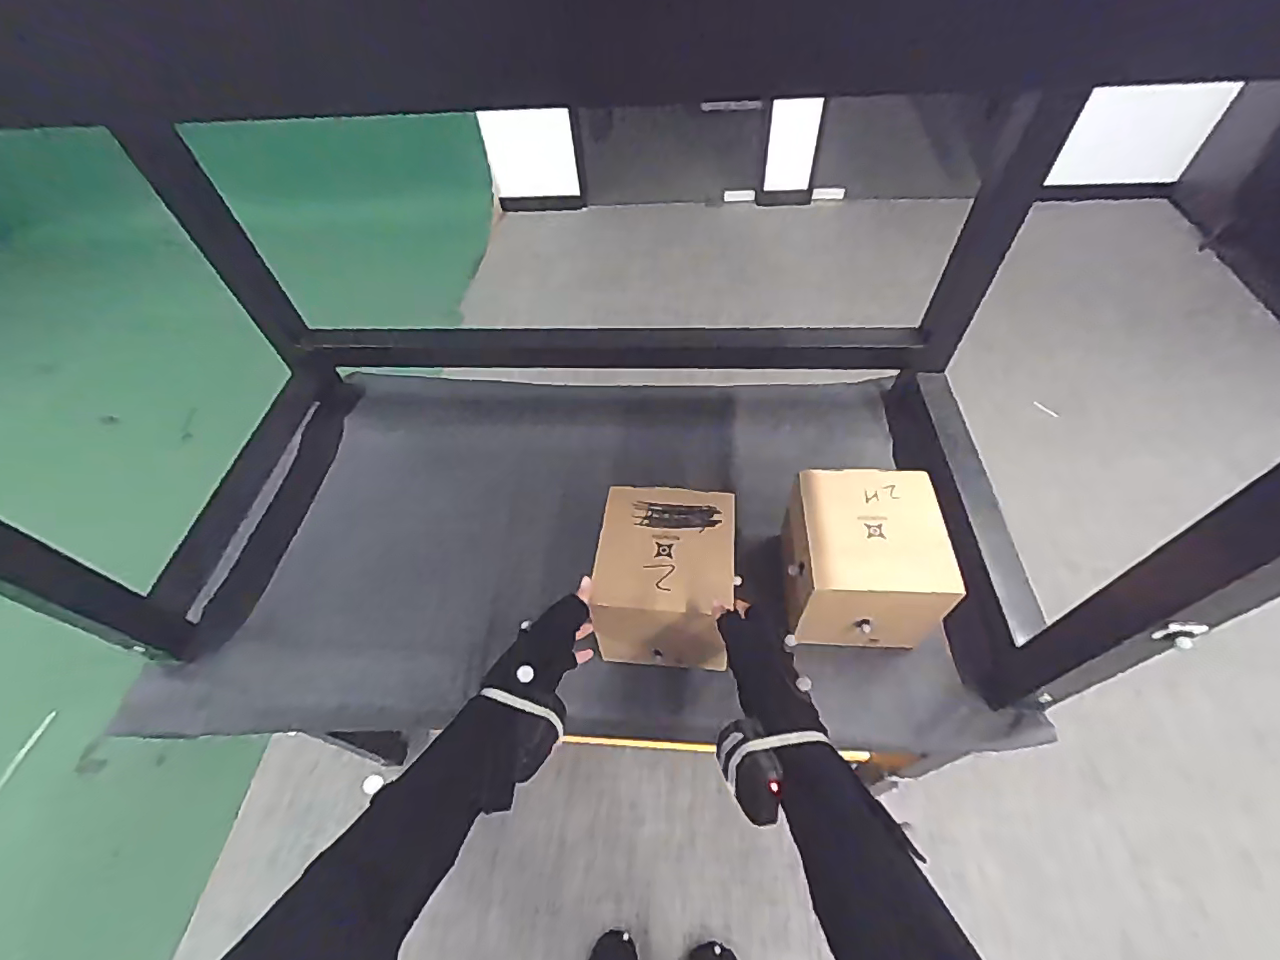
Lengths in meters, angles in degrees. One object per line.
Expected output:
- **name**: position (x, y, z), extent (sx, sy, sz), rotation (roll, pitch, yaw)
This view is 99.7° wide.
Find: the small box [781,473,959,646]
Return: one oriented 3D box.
- **small box**: position (0.287, 0.109, 0.721), extent (0.168, 0.176, 0.179), rotation (1, 52, 5)
